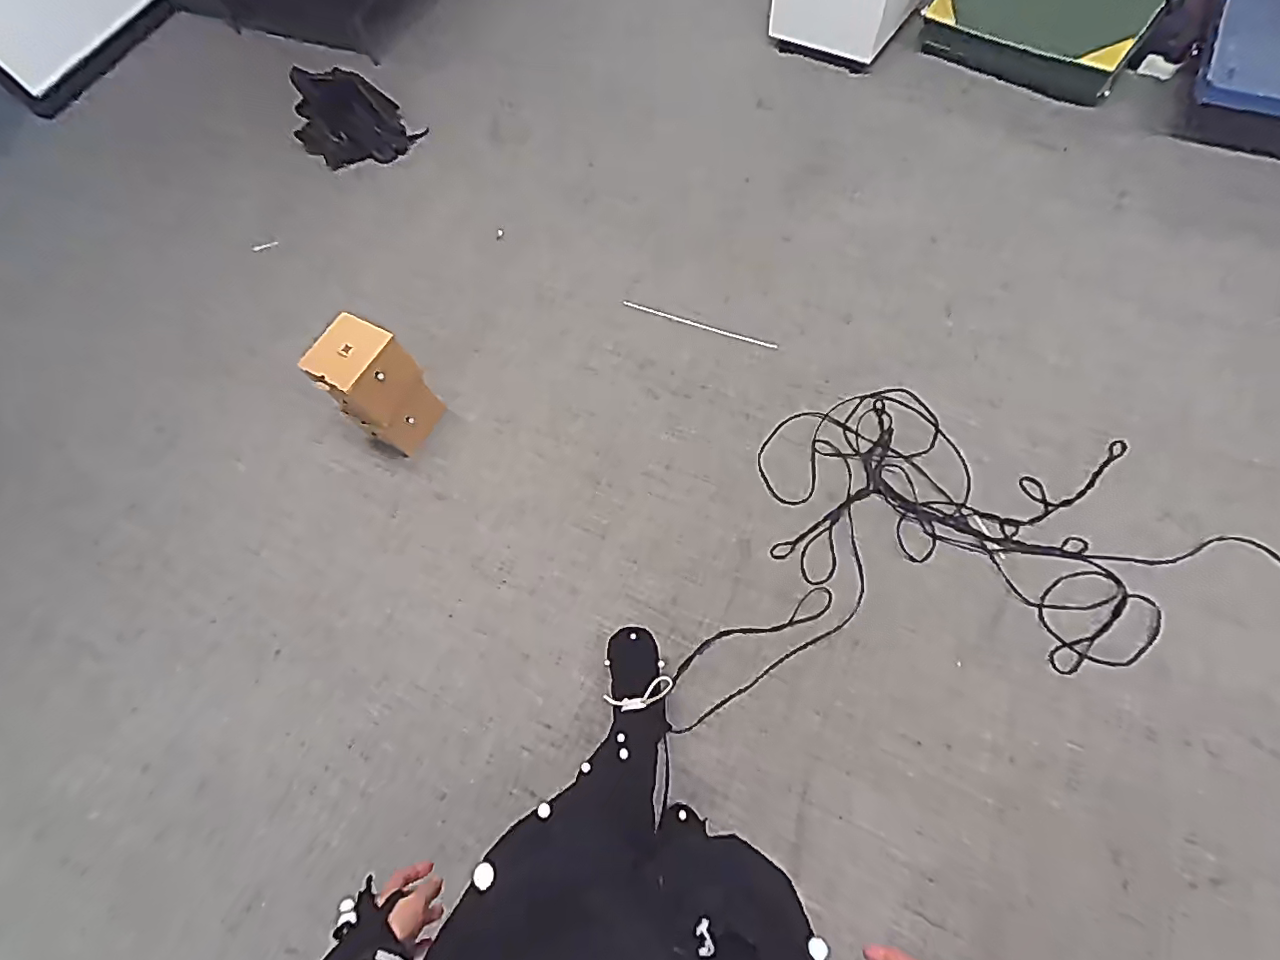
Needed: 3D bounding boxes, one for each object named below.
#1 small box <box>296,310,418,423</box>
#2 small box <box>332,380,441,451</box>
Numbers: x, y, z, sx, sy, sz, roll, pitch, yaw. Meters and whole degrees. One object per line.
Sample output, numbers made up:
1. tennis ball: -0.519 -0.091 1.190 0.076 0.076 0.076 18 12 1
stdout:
1. small box: -0.677 -0.273 1.325 0.168 0.176 0.179 26 73 15
2. small box: -0.679 -0.204 1.474 0.168 0.176 0.179 25 73 15
